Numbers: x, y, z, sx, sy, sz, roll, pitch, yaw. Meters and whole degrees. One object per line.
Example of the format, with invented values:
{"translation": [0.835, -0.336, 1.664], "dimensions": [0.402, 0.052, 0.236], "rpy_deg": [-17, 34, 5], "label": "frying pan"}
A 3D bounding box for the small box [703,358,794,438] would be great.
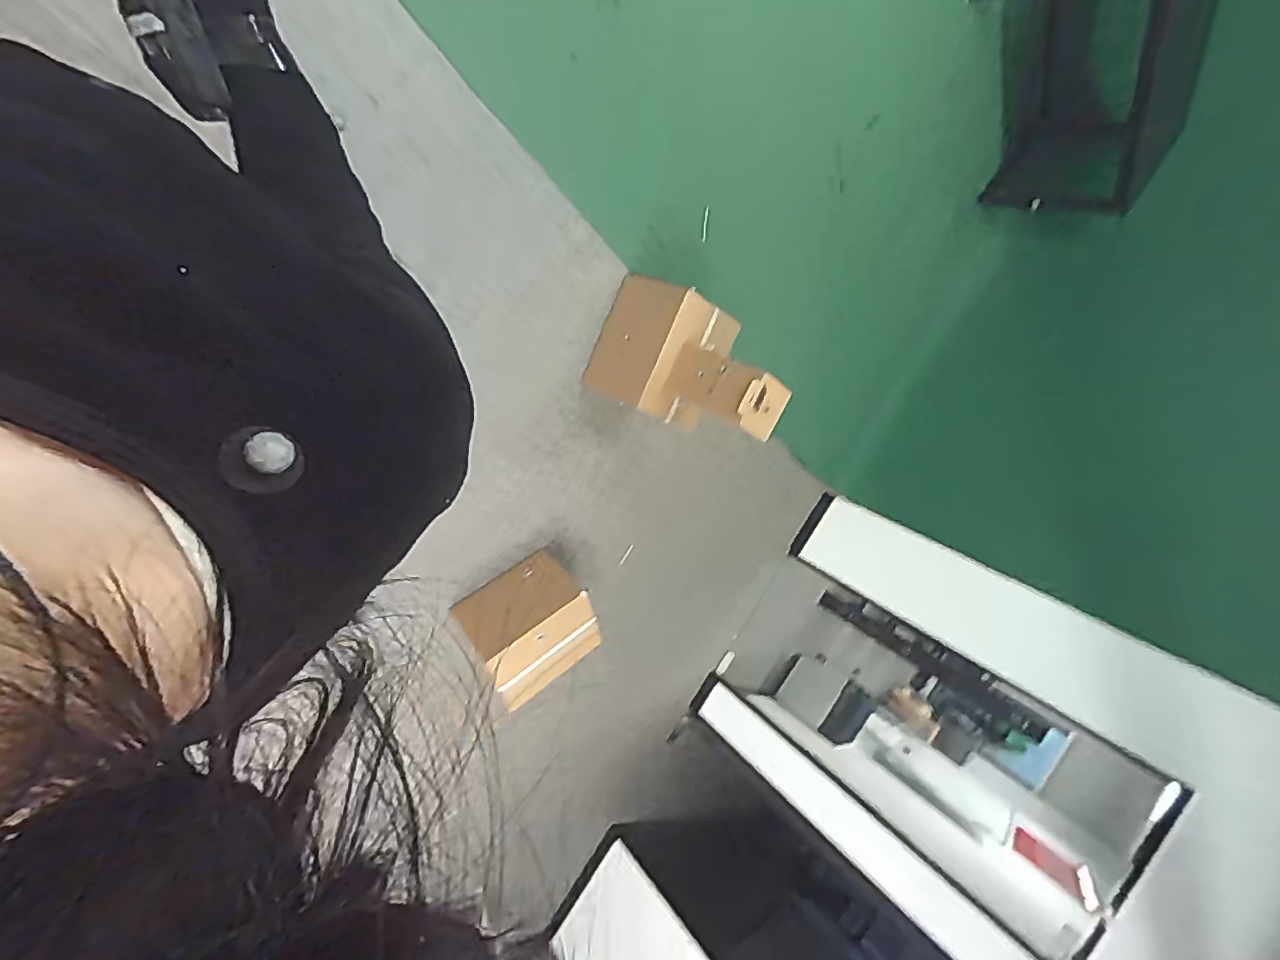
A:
{"translation": [0.319, -0.249, 1.609], "dimensions": [0.179, 0.176, 0.168], "rpy_deg": [21, 99, -47], "label": "small box"}

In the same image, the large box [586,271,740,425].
{"translation": [0.073, -0.450, 1.868], "dimensions": [0.320, 0.320, 0.408], "rpy_deg": [12, 104, -48], "label": "large box"}

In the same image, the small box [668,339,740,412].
{"translation": [0.218, -0.325, 1.713], "dimensions": [0.168, 0.176, 0.179], "rpy_deg": [18, 101, -47], "label": "small box"}
